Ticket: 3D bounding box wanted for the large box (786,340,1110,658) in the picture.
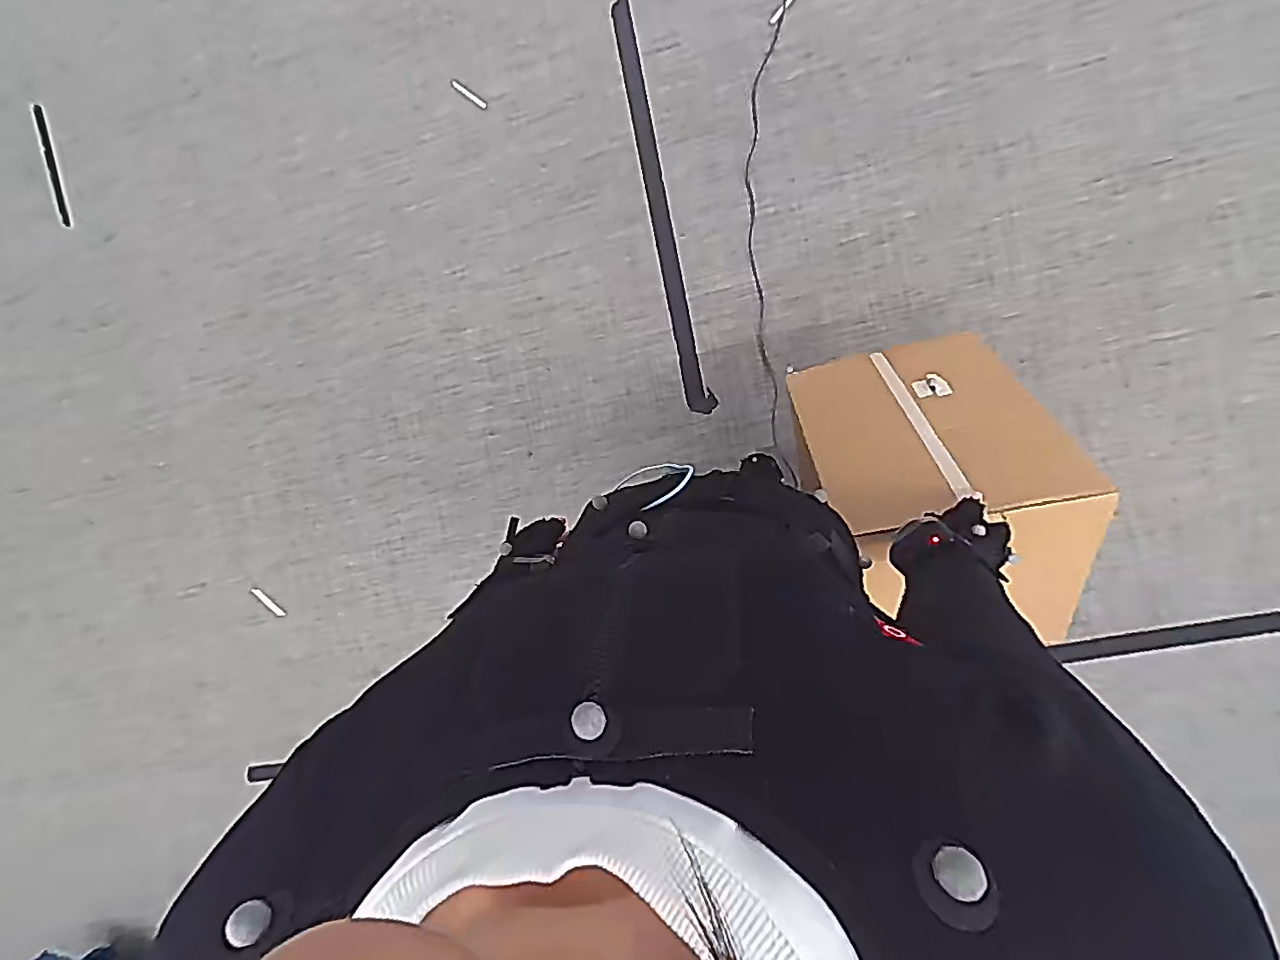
[{"bbox_3d":[0.455,0.025,0.904,0.320,0.408,0.320,-11,129,10],"label":"large box"}]
